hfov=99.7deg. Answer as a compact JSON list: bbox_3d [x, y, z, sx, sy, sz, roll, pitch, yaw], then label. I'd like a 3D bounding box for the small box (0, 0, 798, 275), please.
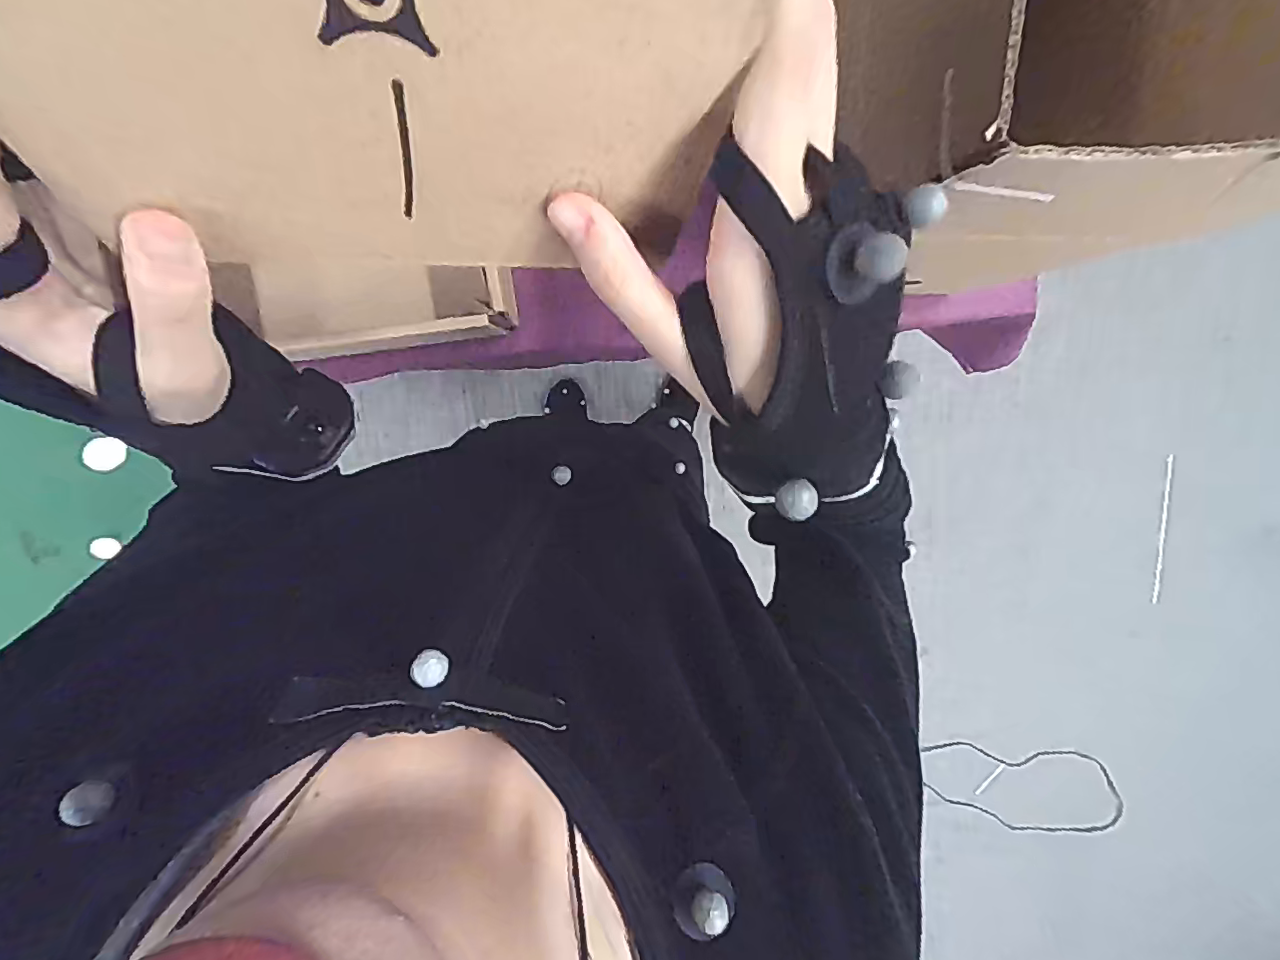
[{"bbox_3d":[-0.059,-0.172,0.122,0.168,0.179,0.176,-5,75,-15],"label":"small box"}]
